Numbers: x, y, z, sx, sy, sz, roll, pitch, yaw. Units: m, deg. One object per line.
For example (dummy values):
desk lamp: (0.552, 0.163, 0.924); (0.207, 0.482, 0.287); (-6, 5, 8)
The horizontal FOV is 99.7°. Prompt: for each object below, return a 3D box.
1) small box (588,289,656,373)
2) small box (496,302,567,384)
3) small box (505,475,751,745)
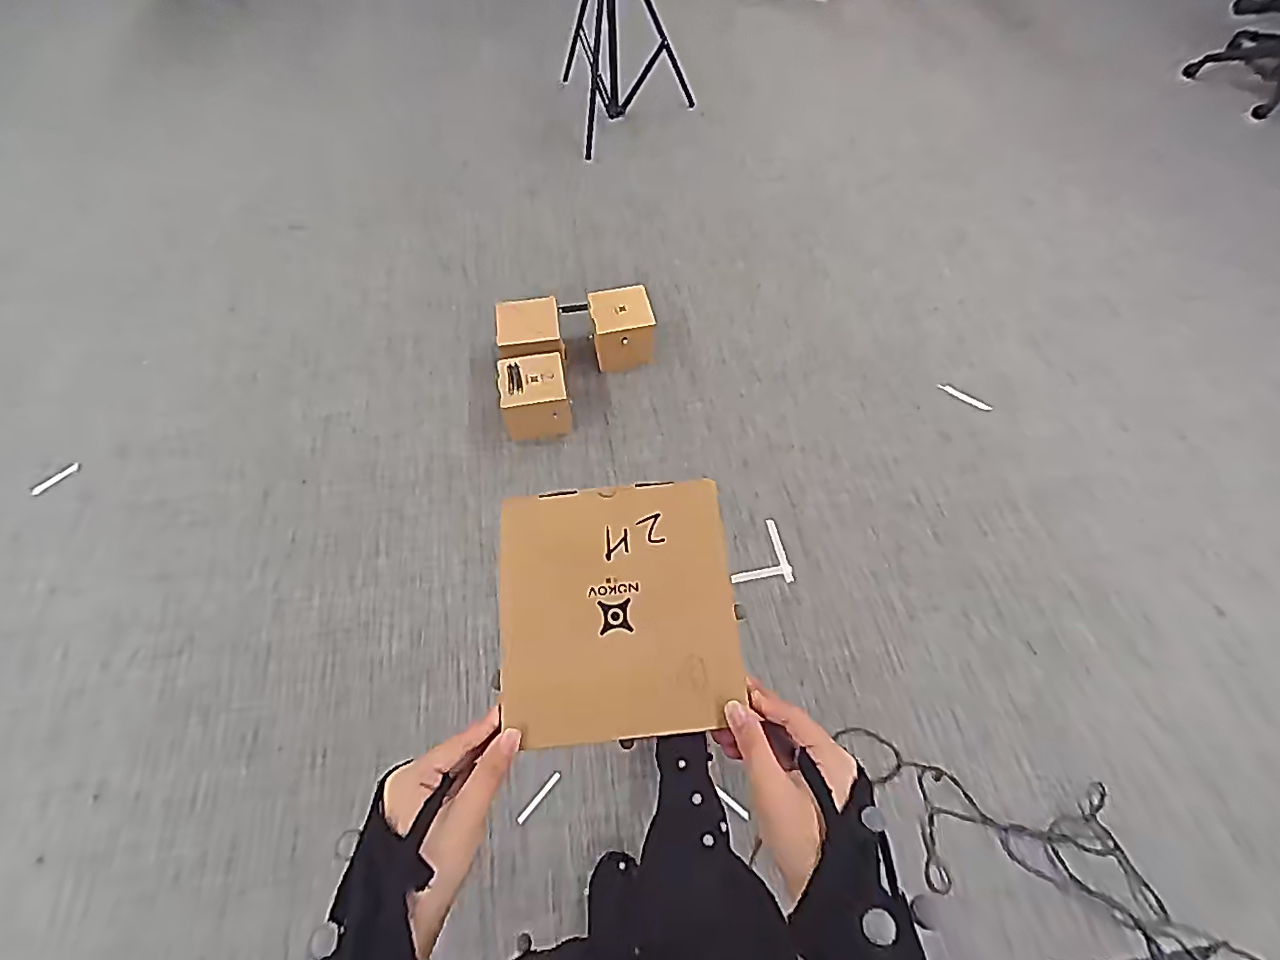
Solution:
small box: (-0.057, -0.452, 1.653); (0.179, 0.176, 0.168); (-12, 63, -6)
small box: (-0.323, -0.412, 1.625); (0.179, 0.176, 0.168); (-7, 62, -5)
small box: (-0.011, 0.111, 0.457); (0.168, 0.176, 0.179); (-6, 70, -1)
